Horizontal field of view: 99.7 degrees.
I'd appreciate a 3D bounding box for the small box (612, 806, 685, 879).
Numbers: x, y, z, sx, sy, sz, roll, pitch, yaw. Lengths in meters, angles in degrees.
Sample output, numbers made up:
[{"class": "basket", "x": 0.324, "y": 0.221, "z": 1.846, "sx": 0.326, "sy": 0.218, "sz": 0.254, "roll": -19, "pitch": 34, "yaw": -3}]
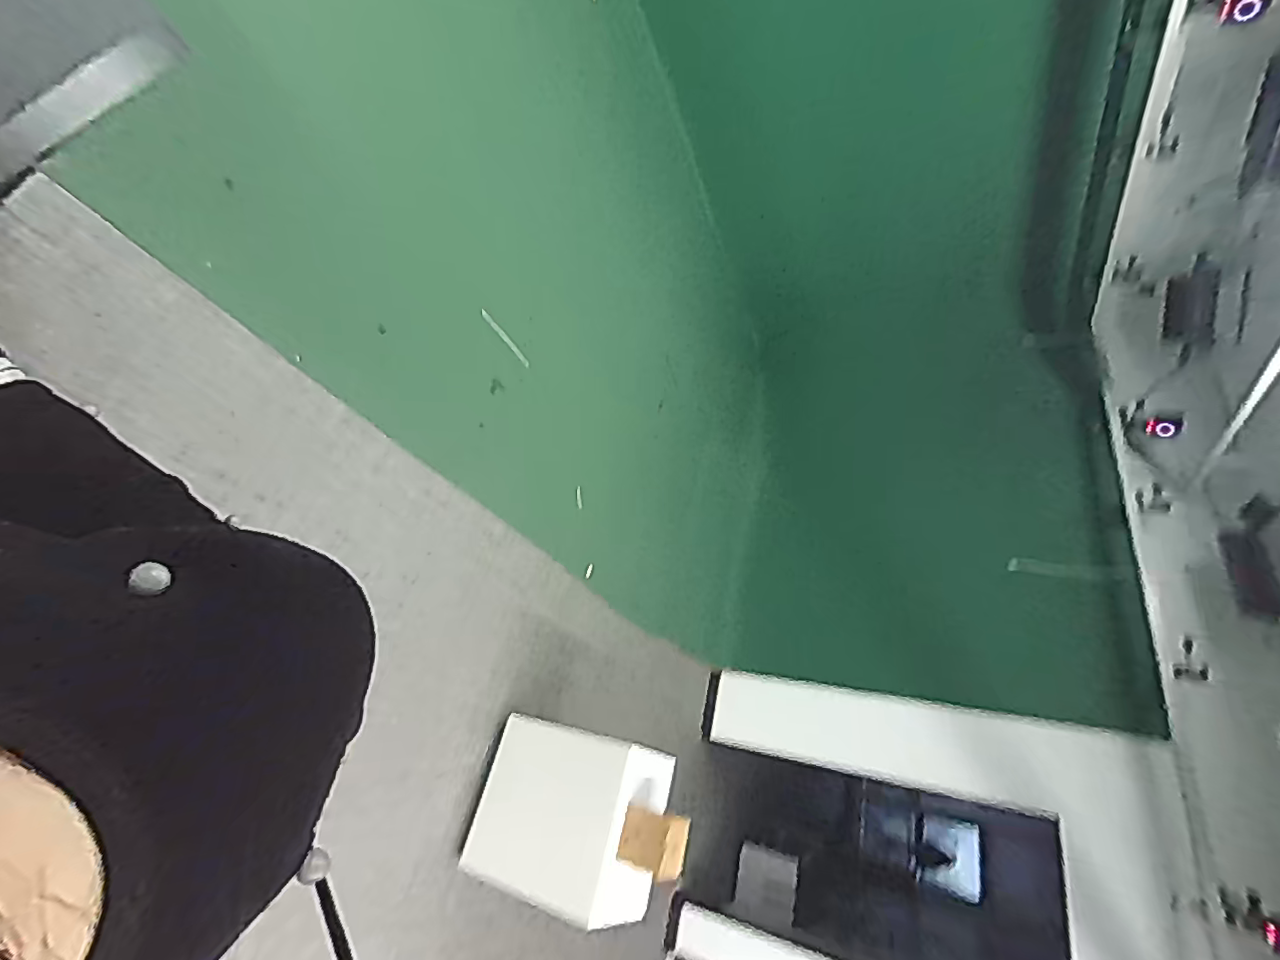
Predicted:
[{"class": "small box", "x": 0.031, "y": 1.208, "z": 1.807, "sx": 0.179, "sy": 0.176, "sz": 0.168, "roll": 51, "pitch": 45, "yaw": -49}]
